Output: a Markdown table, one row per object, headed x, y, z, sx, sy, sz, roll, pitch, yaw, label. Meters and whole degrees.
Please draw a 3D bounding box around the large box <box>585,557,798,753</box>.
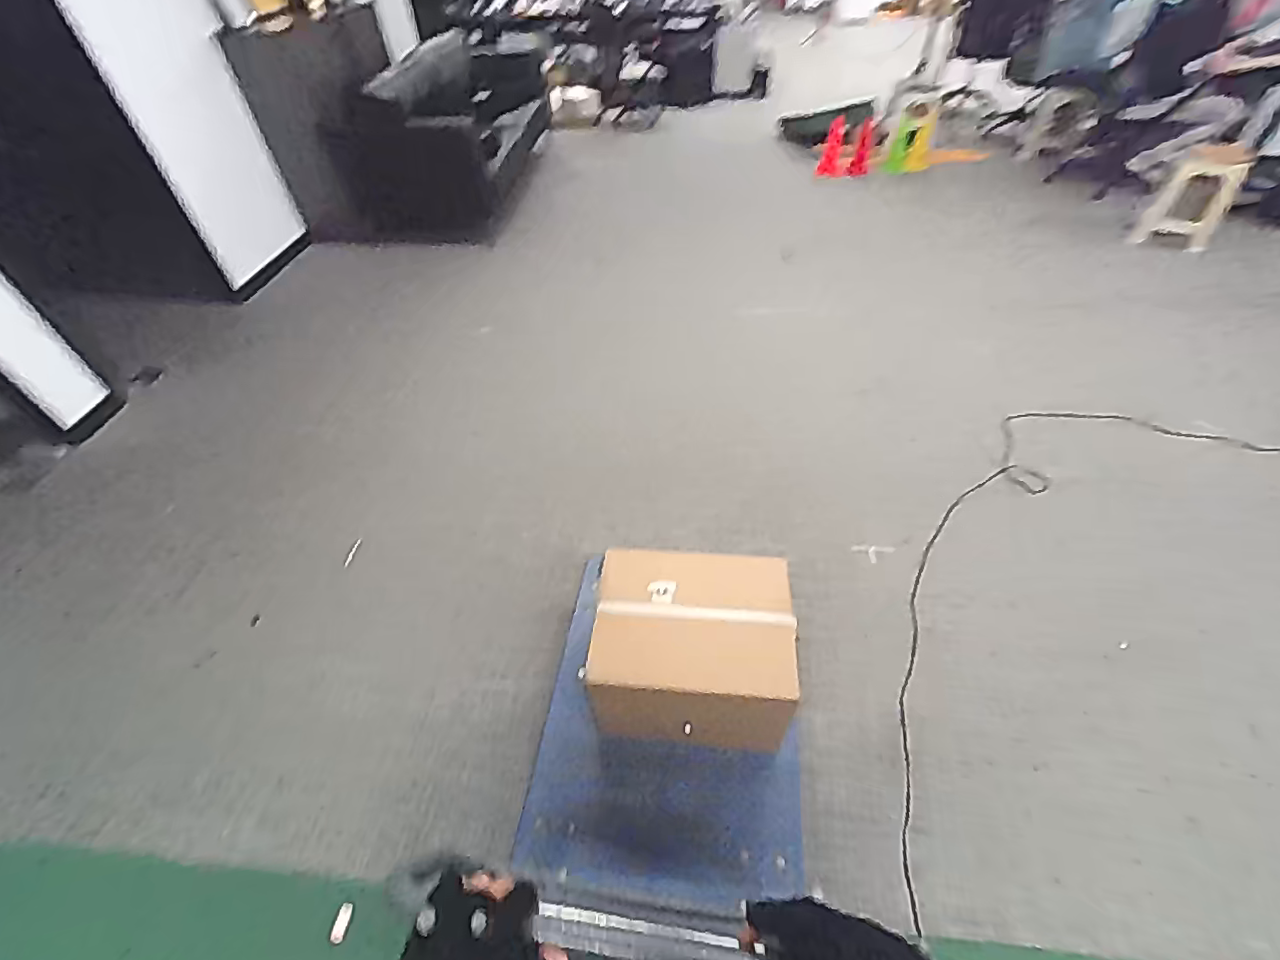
| x | y | z | sx | sy | sz | roll | pitch | yaw | label |
| --- | --- | --- | --- | --- | --- | --- | --- | --- | --- |
| 0.115 | 0.394 | 1.215 | 0.408 | 0.320 | 0.320 | 2 | 46 | 6 | large box |
